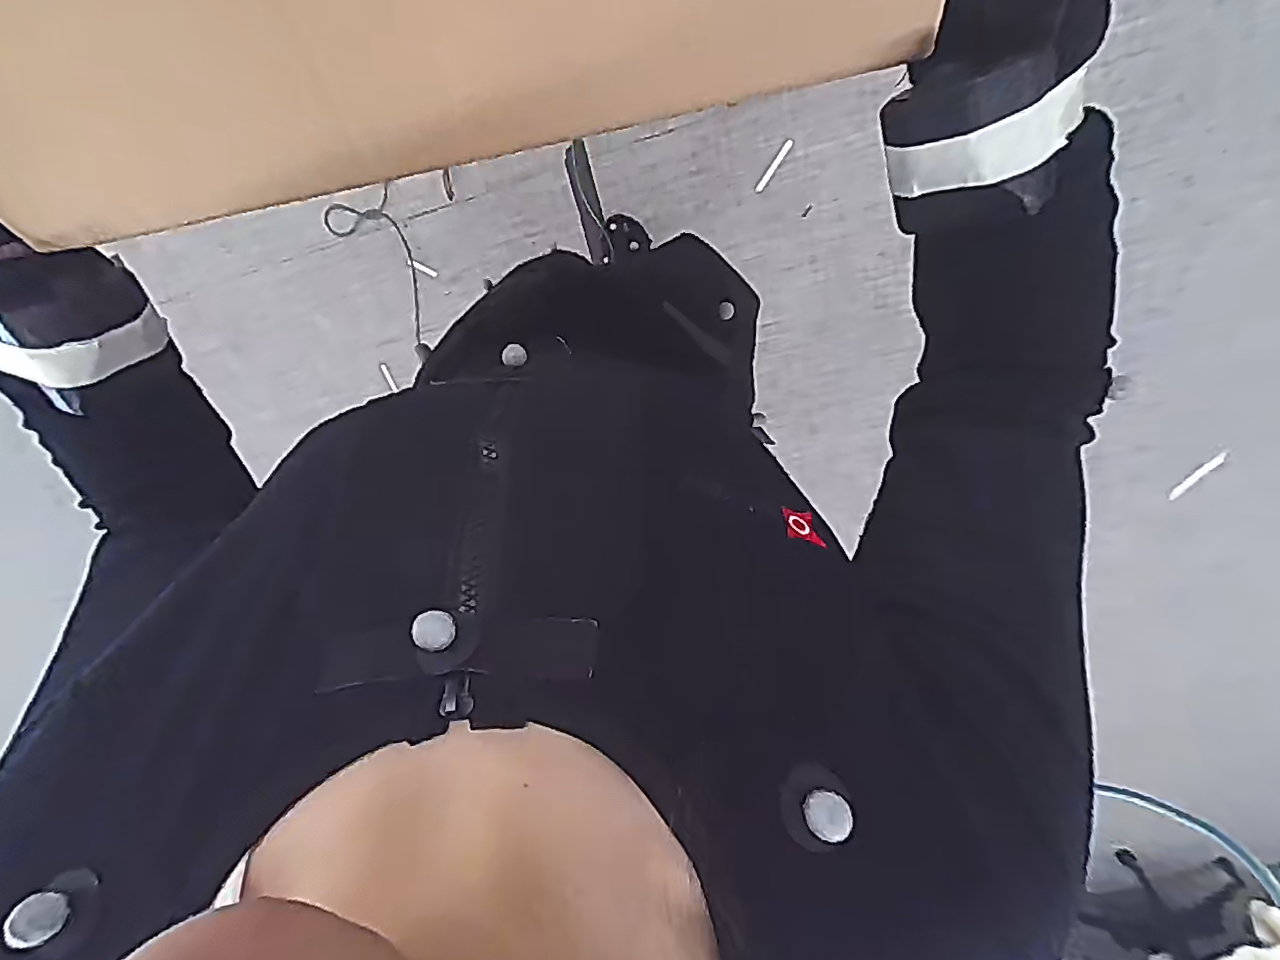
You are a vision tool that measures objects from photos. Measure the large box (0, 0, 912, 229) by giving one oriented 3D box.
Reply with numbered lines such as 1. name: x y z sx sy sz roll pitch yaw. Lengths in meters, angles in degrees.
1. large box: -0.118 -0.361 0.220 0.408 0.320 0.320 -9 139 5
